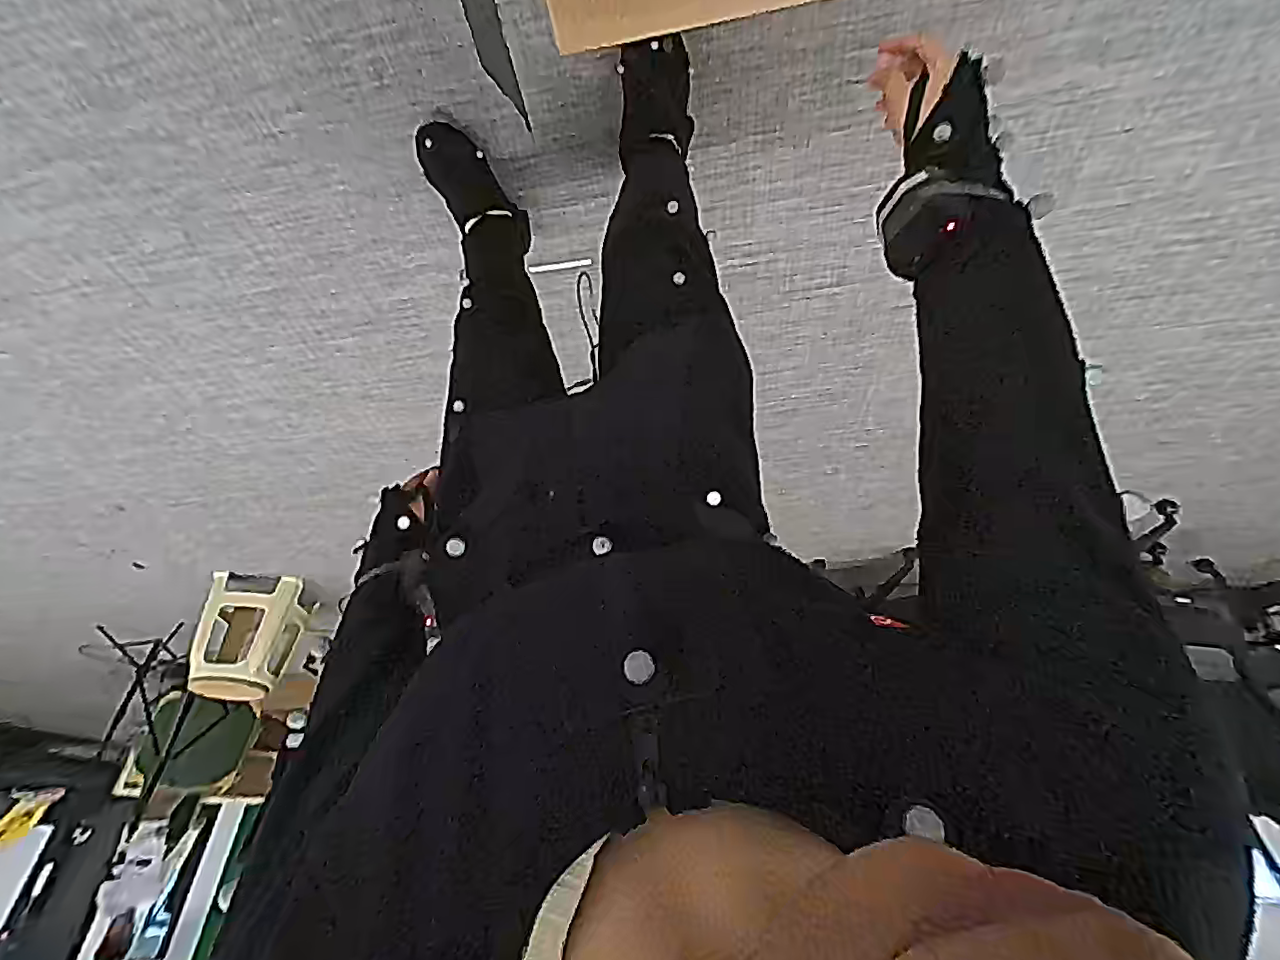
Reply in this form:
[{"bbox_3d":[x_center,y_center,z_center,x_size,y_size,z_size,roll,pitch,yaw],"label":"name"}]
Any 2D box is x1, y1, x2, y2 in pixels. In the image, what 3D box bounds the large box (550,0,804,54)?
[{"bbox_3d":[0.076,-0.708,0.548,0.408,0.320,0.320,-7,144,7],"label":"large box"}]
